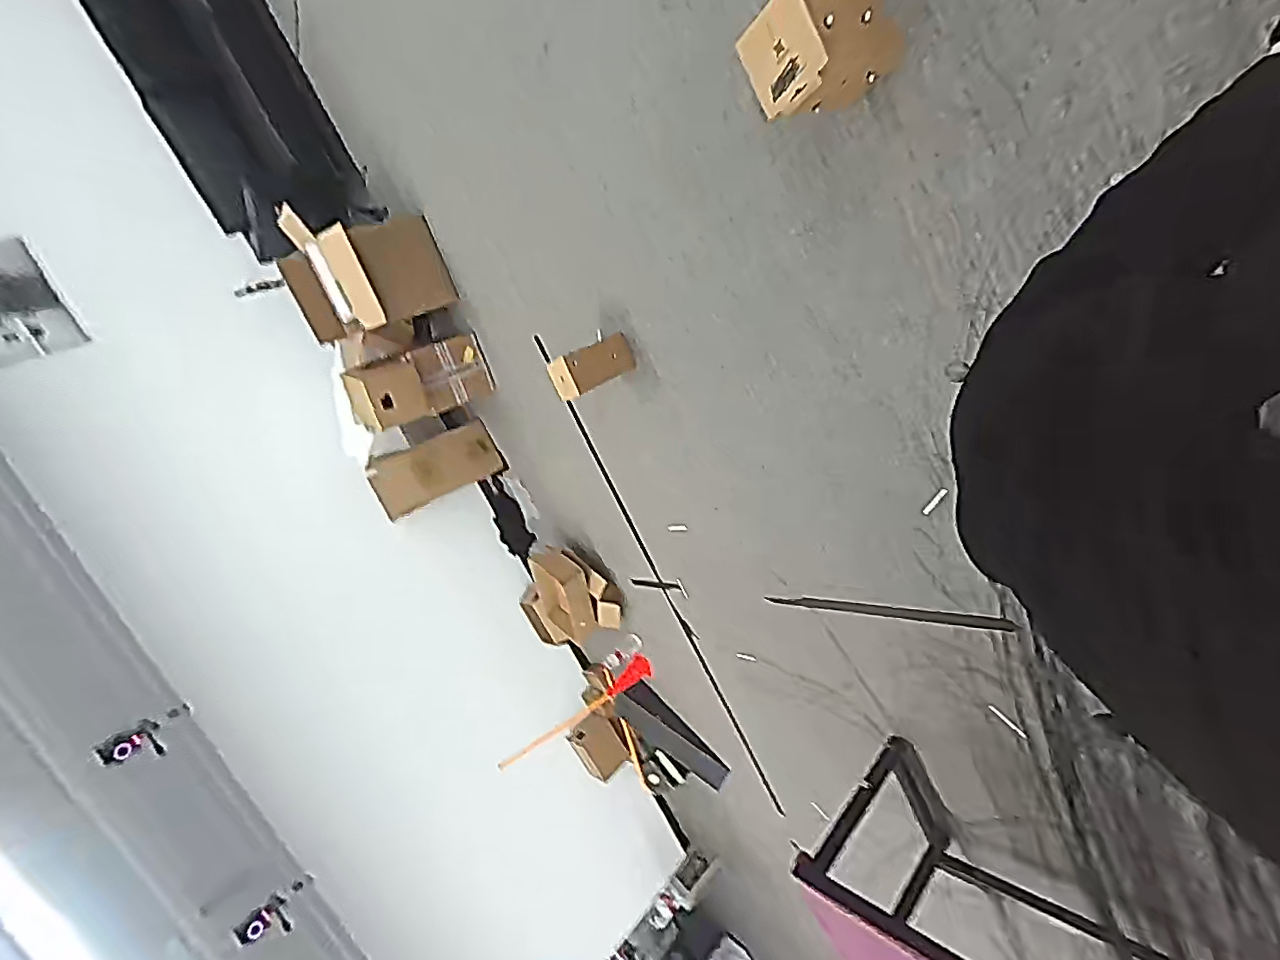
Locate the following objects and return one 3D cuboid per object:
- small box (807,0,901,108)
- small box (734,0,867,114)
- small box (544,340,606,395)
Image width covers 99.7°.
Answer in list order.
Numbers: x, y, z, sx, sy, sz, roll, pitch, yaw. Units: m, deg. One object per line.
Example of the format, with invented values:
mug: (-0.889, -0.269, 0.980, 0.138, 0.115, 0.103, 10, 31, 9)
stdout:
small box: (0.453, -0.987, 1.218, 0.168, 0.176, 0.179, -18, 101, 57)
small box: (0.338, -0.911, 1.127, 0.168, 0.176, 0.179, -17, 103, 57)
small box: (-0.278, -0.491, 2.337, 0.168, 0.176, 0.179, -3, 116, 56)
